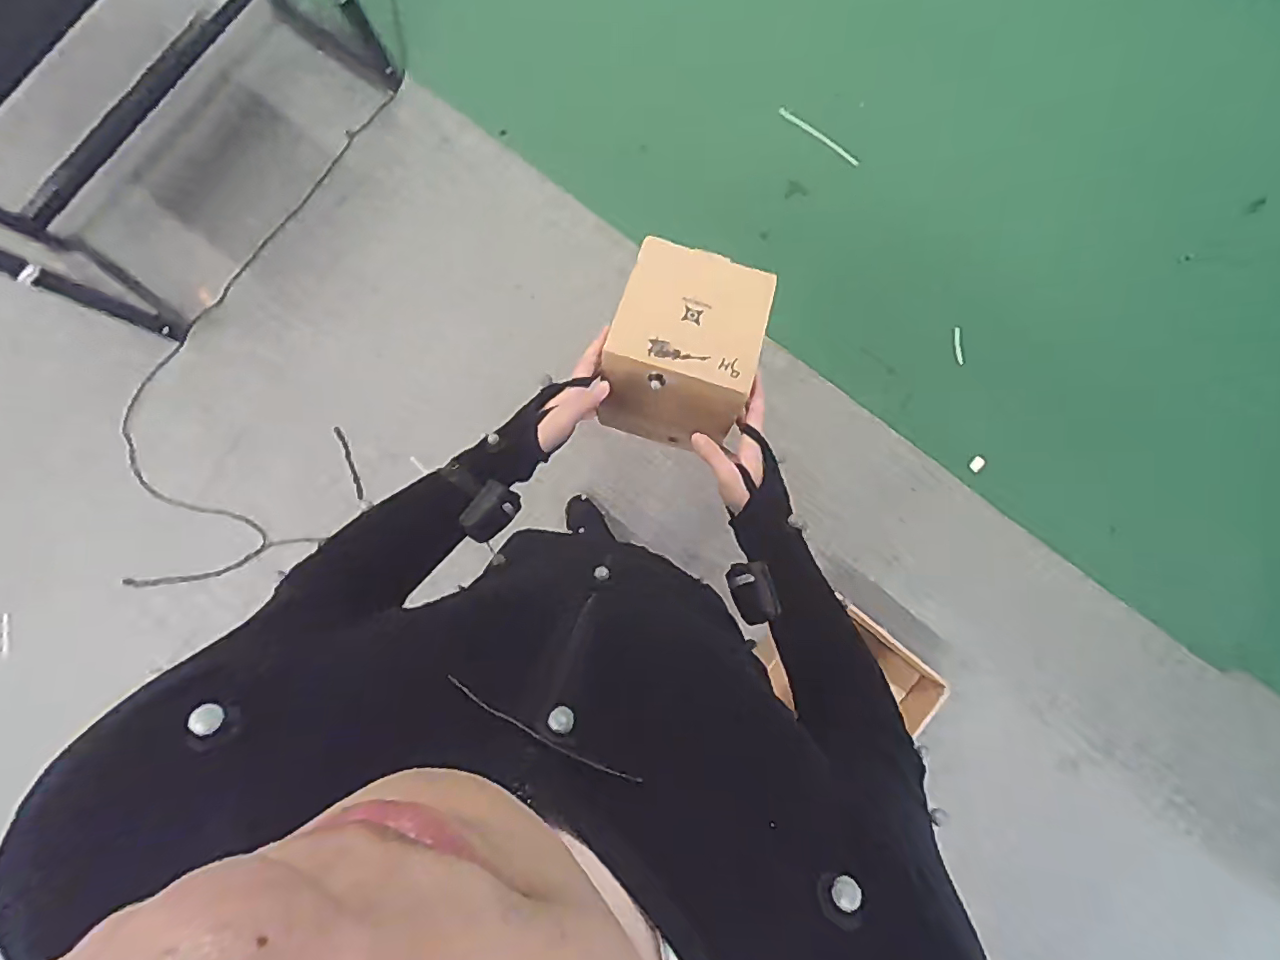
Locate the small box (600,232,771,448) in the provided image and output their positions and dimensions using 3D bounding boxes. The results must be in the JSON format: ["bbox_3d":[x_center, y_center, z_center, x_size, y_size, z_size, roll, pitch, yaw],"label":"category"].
[{"bbox_3d":[0.049,-0.169,0.686,0.168,0.176,0.179,16,66,0],"label":"small box"}]
